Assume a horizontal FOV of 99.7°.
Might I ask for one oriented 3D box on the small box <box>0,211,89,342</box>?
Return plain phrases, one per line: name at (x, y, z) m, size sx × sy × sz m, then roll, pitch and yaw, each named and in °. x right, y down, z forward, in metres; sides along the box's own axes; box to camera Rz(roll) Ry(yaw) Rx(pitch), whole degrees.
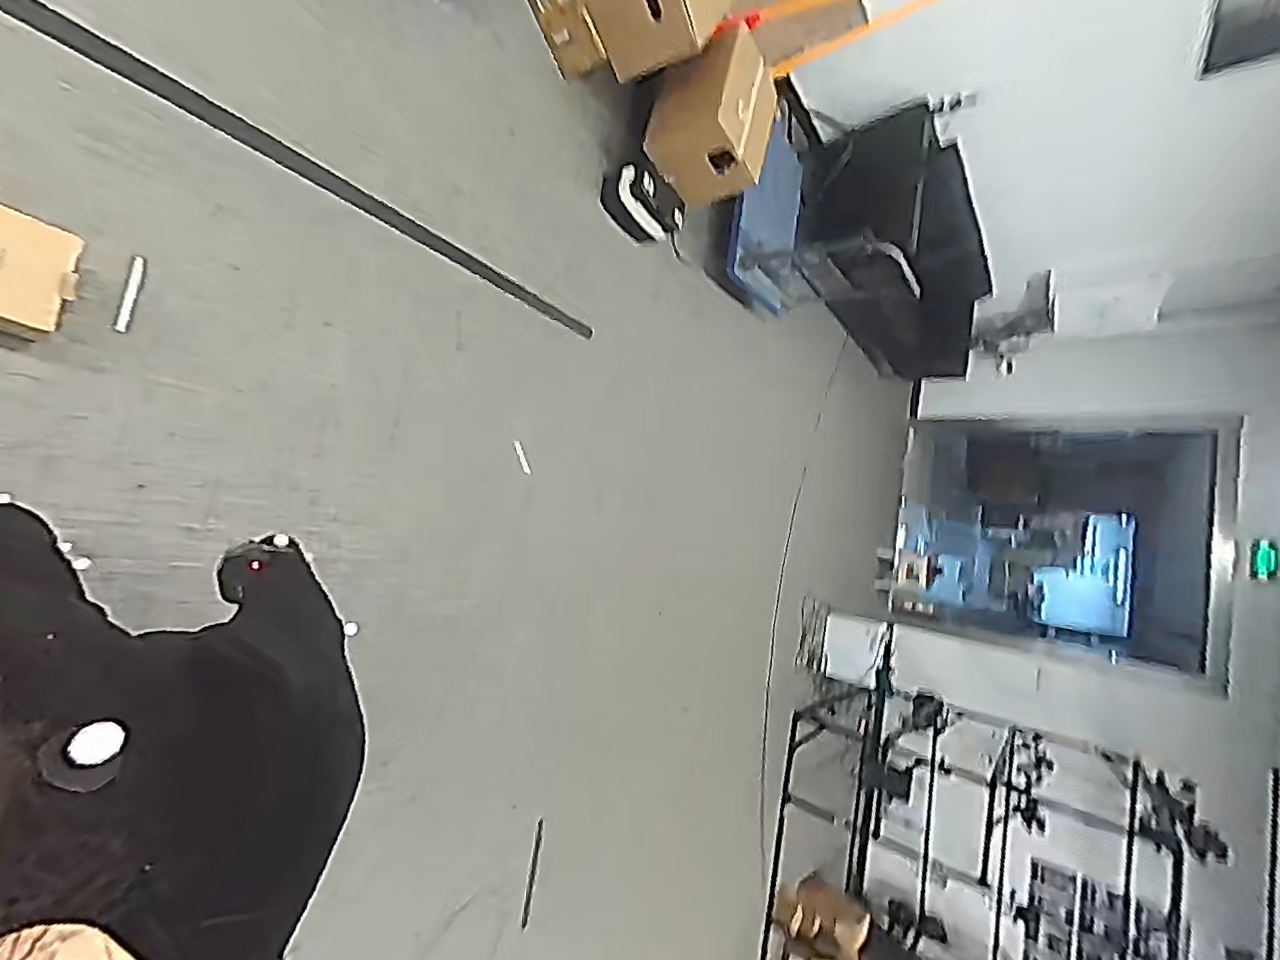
small box at (-1.034, -0.330, 0.855) m, size 0.179 × 0.176 × 0.168 m, roll 22°, pitch 76°, yaw -52°
